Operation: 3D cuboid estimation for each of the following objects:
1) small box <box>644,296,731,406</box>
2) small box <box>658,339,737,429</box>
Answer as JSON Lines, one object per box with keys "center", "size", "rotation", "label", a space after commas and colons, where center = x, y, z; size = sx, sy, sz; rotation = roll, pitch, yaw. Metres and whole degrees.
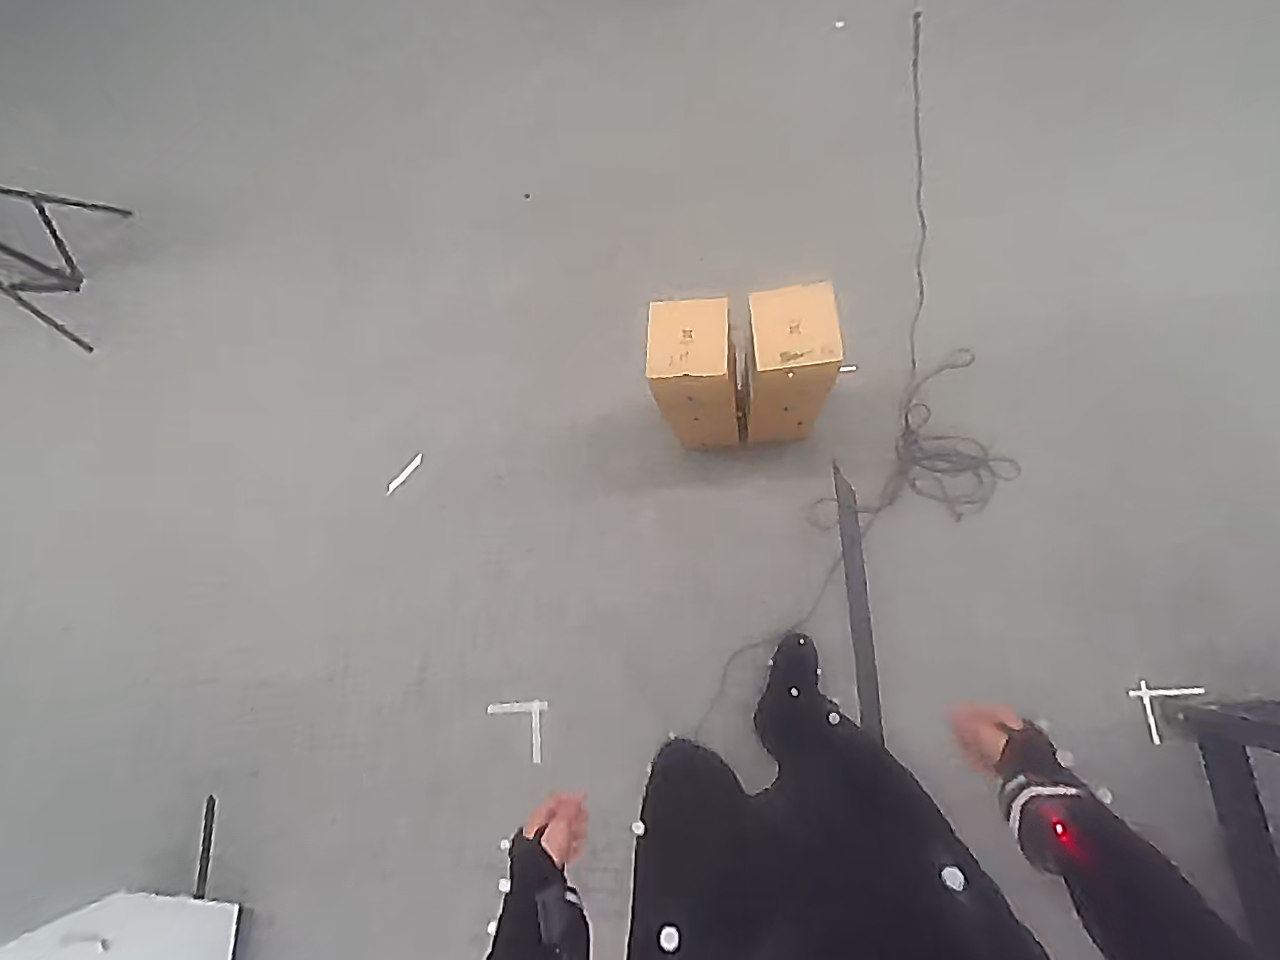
{"center": [0.107, -0.270, 1.160], "size": [0.168, 0.176, 0.179], "rotation": [0, 78, 12], "label": "small box"}
{"center": [0.146, -0.226, 1.314], "size": [0.179, 0.176, 0.168], "rotation": [-1, 77, 13], "label": "small box"}
